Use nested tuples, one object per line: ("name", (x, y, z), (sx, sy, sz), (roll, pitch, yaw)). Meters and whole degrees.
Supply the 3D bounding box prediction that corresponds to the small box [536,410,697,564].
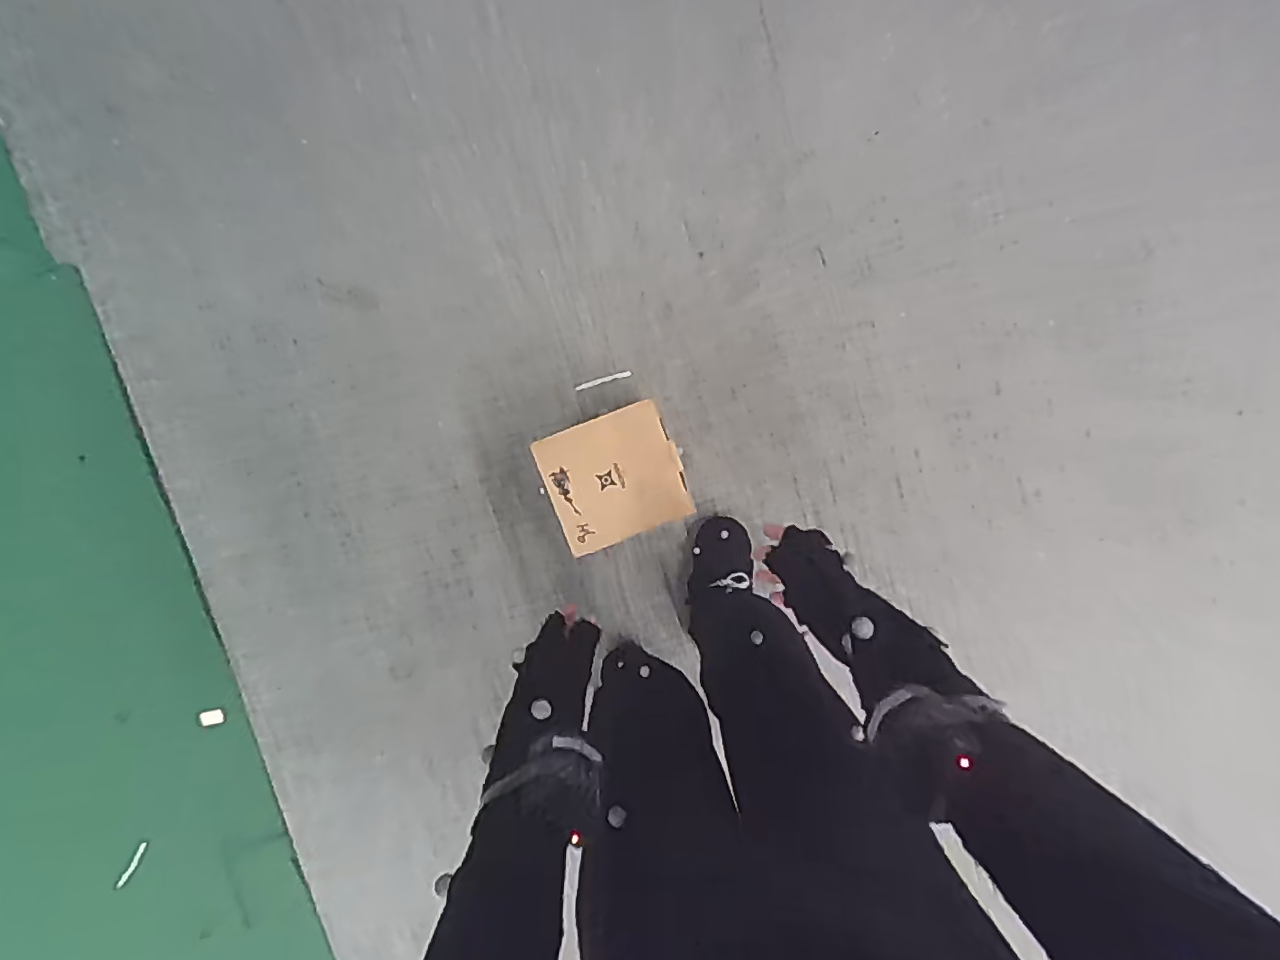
("small box", (-0.032, 0.002, 0.797), (0.179, 0.176, 0.168), (-21, 94, 2))
